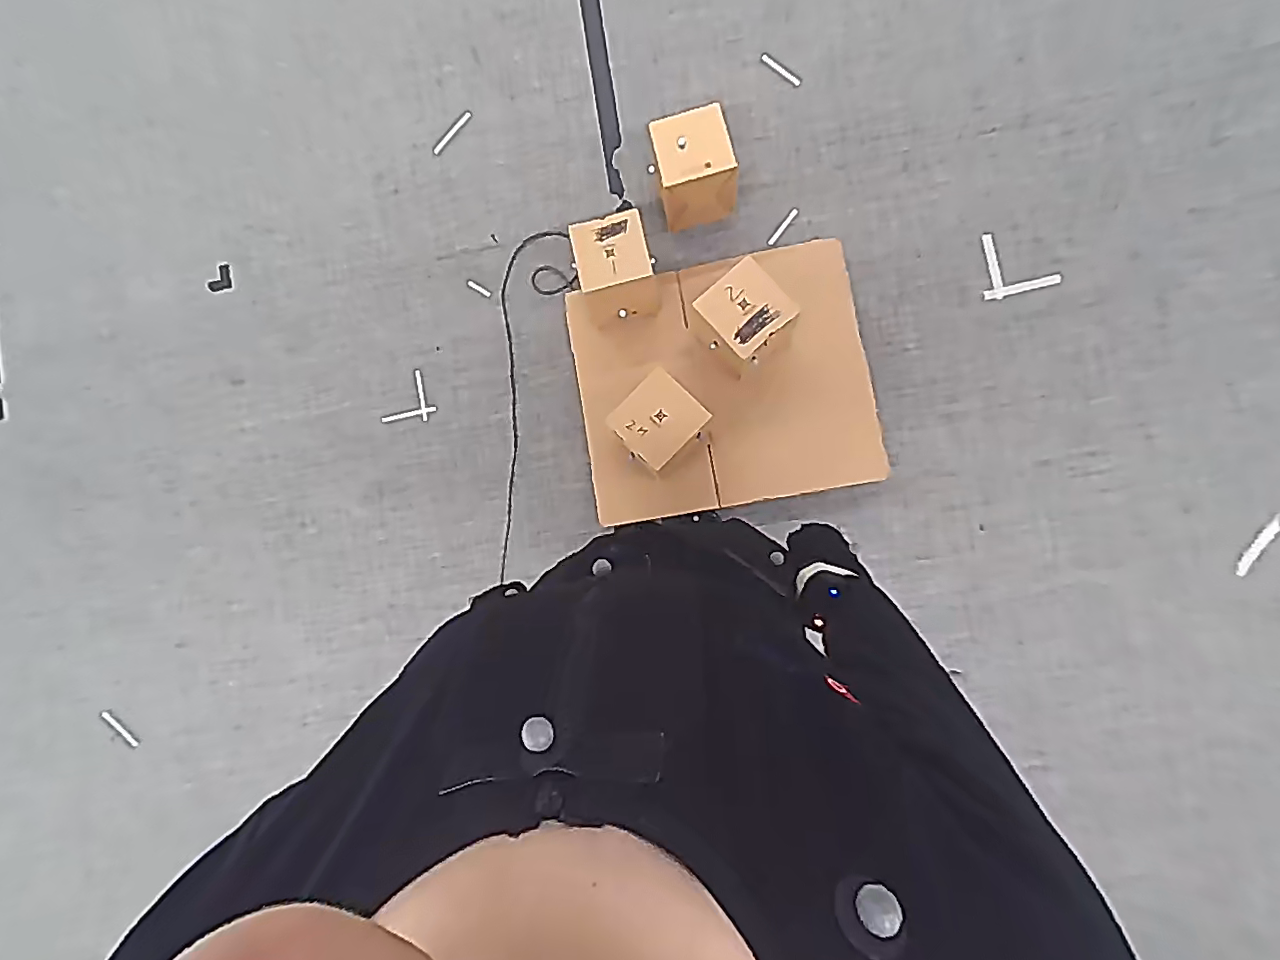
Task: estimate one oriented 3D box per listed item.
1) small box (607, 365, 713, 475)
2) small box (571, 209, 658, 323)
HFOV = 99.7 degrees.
[{"bbox_3d":[0.048,-0.131,1.253,0.179,0.176,0.168,-45,82,0],"label":"small box"},{"bbox_3d":[-0.056,-0.506,1.297,0.168,0.176,0.179,-13,79,4],"label":"small box"}]
